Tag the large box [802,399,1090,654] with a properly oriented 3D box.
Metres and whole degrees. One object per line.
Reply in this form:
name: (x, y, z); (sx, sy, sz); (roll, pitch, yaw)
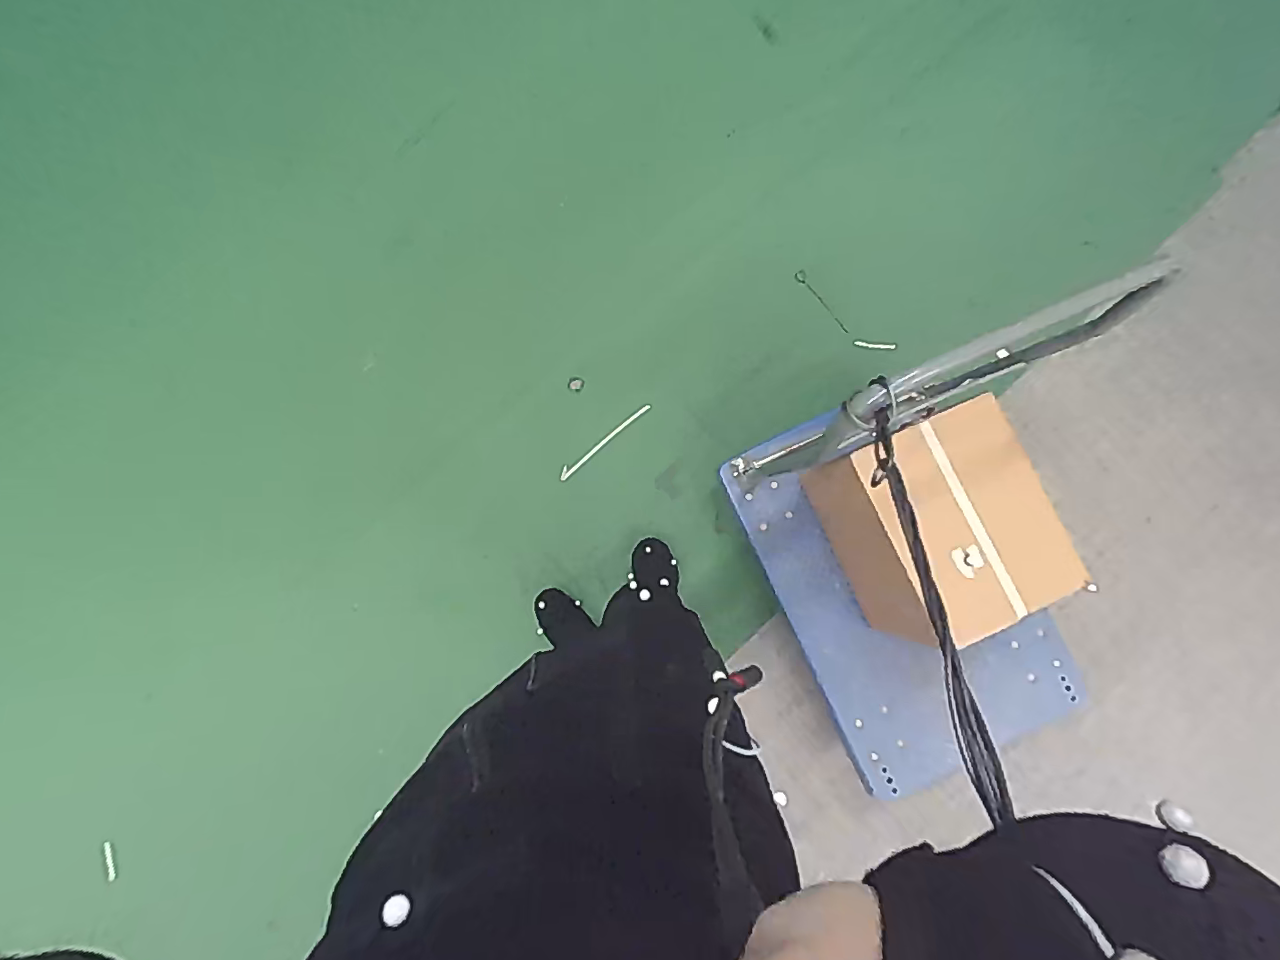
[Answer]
large box: (0.612, 0.098, 1.159); (0.320, 0.320, 0.408); (-24, 84, -4)
